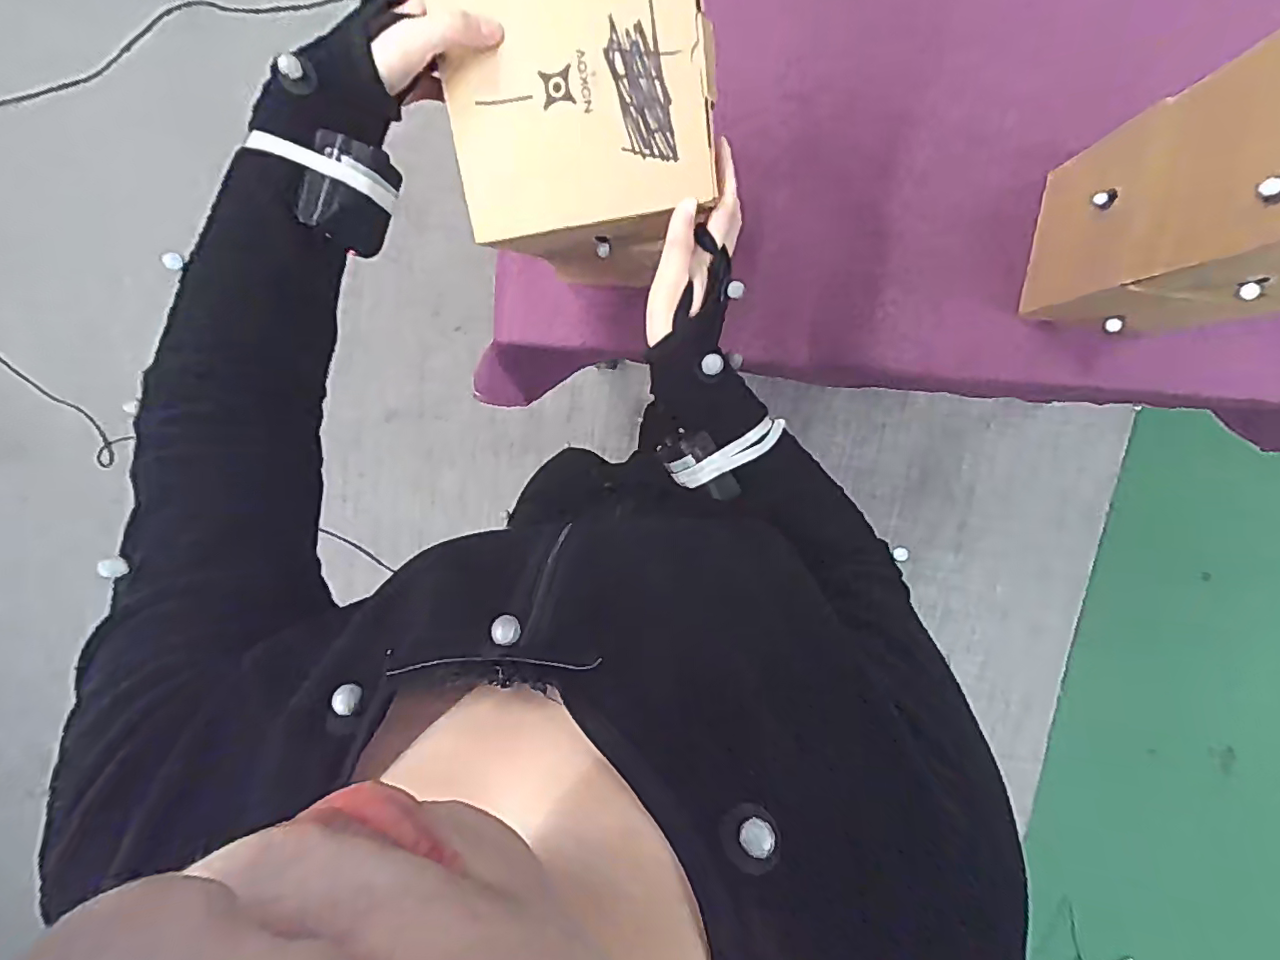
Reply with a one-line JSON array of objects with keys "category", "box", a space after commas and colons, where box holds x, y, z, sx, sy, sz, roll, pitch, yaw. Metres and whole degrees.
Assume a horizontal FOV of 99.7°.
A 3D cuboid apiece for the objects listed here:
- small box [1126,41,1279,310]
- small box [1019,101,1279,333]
[{"category": "small box", "box": [0.552, -0.248, 0.433, 0.168, 0.176, 0.179, 8, 99, 3]}, {"category": "small box", "box": [0.561, -0.270, 0.595, 0.168, 0.176, 0.179, 8, 99, 4]}]
